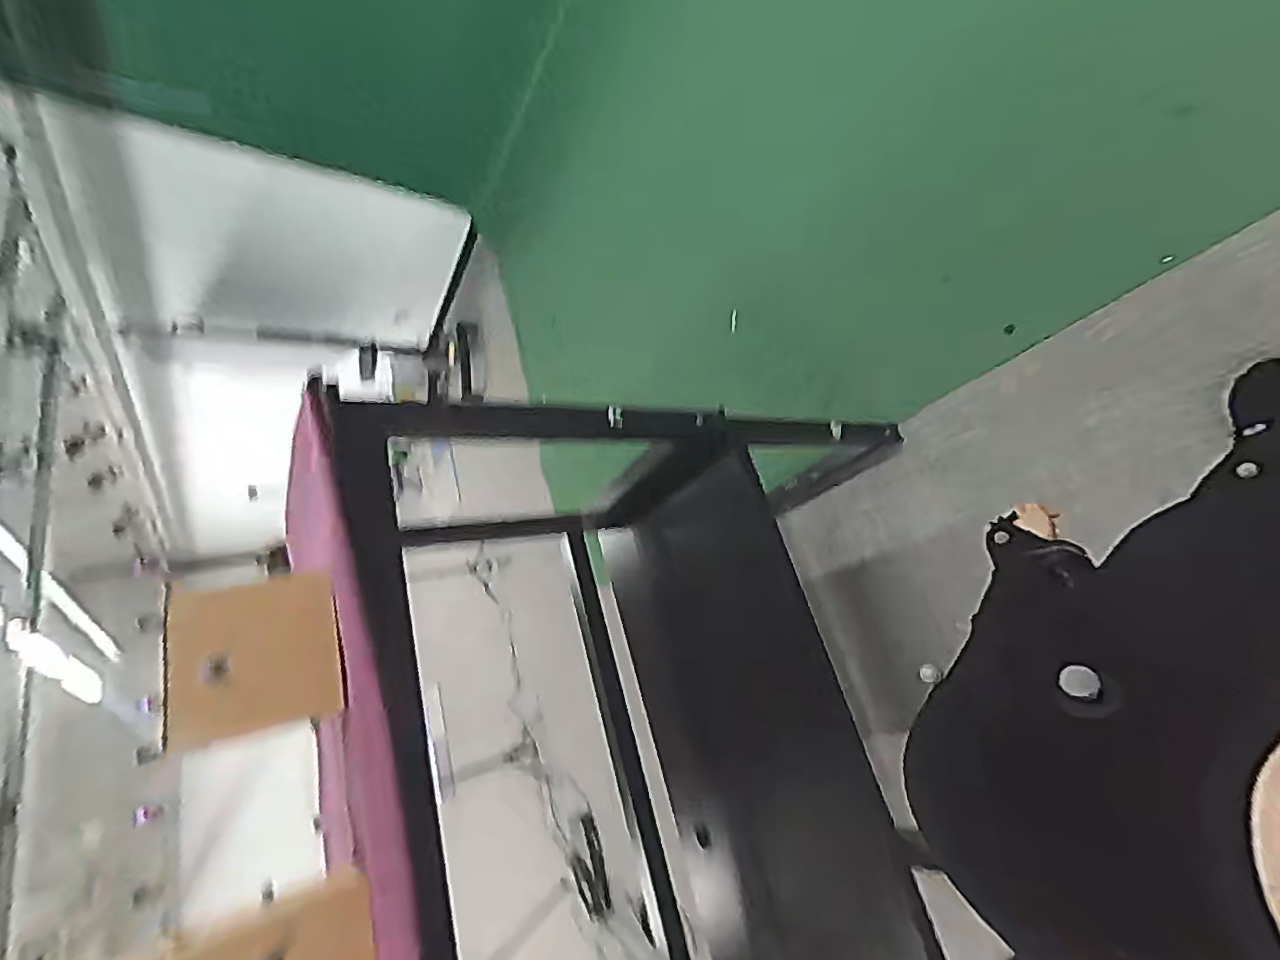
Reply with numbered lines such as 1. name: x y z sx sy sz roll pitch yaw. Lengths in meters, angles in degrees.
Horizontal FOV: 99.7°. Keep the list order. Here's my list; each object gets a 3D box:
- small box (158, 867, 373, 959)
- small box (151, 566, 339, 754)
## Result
1. small box: -0.368 0.524 0.544 0.168 0.176 0.179 -42 60 47
2. small box: -0.482 0.222 0.676 0.168 0.176 0.179 -40 61 49
